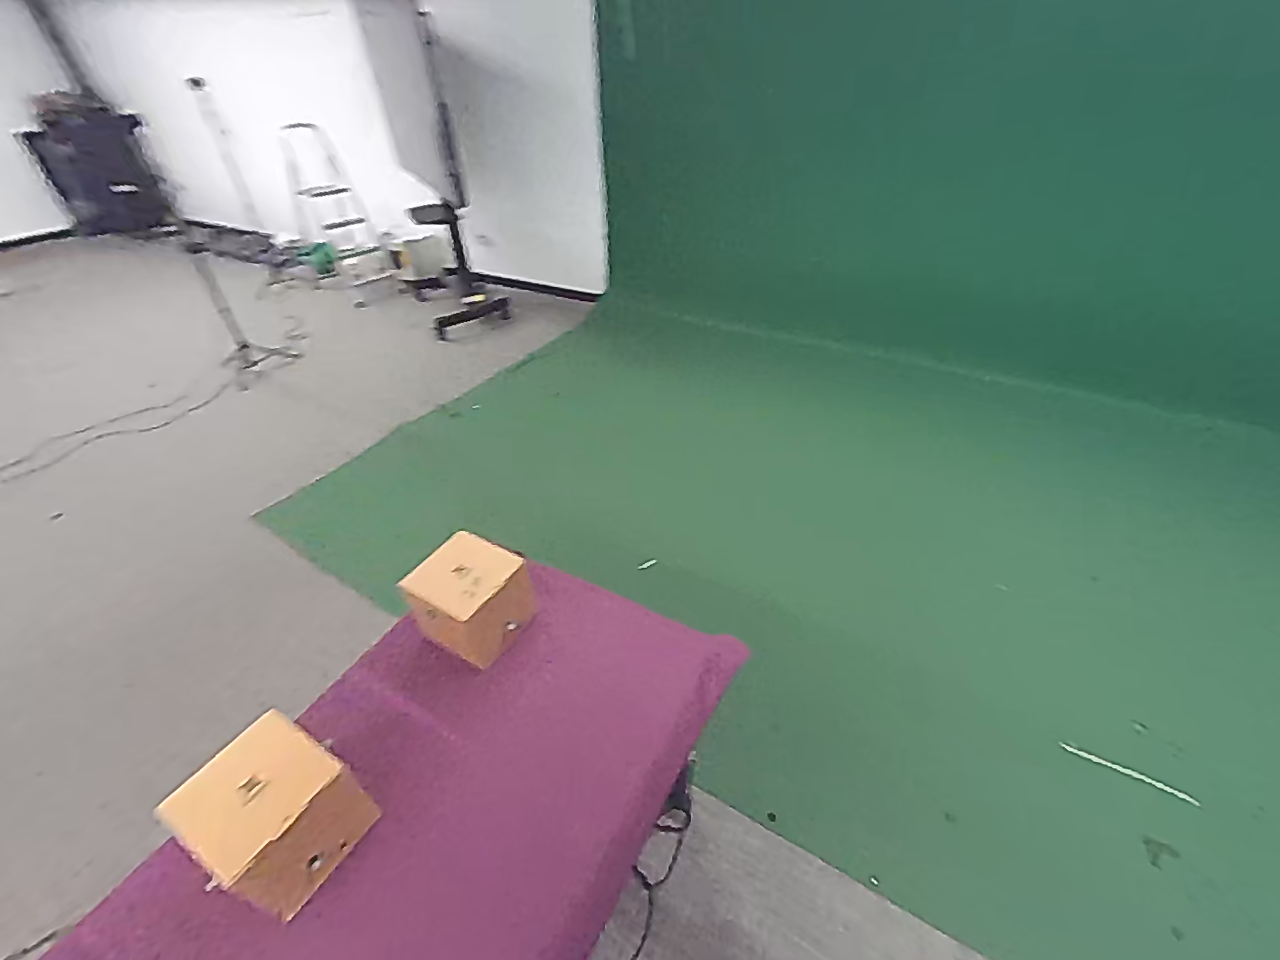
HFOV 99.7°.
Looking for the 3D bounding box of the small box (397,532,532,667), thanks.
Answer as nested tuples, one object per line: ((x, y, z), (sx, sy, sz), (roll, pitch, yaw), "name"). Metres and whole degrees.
((-0.341, 0.239, 1.078), (0.179, 0.176, 0.168), (20, 46, 24), "small box")

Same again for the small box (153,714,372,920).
((-0.530, 0.486, 0.782), (0.179, 0.176, 0.168), (20, 43, 23), "small box")
